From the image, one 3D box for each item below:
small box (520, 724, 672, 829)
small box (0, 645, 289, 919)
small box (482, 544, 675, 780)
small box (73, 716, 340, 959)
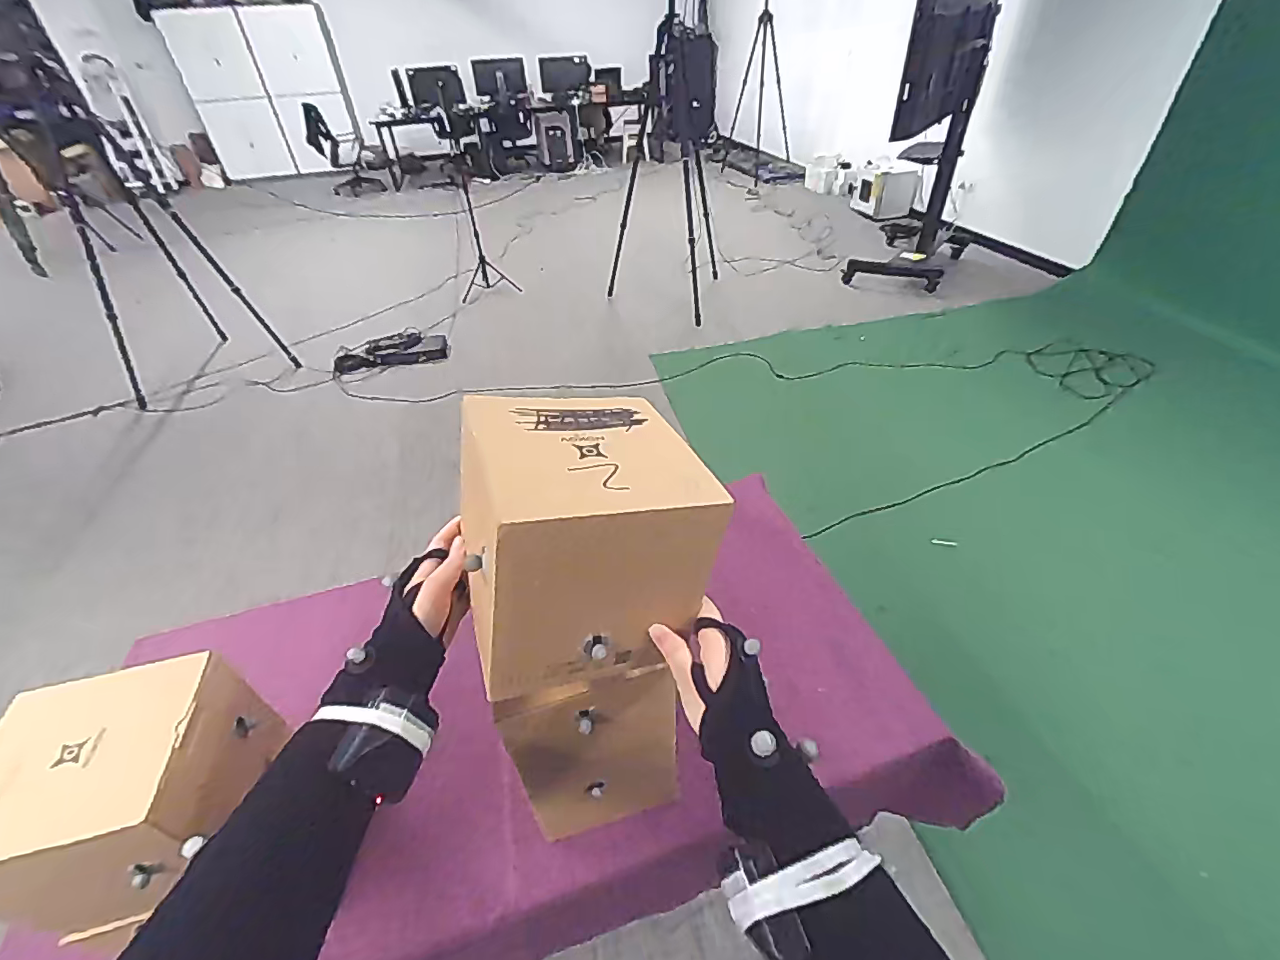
[{"bbox_3d":[-0.062,0.328,0.717,0.179,0.176,0.168,-12,42,-10],"label":"small box"},{"bbox_3d":[-0.490,0.296,0.536,0.179,0.176,0.168,-12,41,-8],"label":"small box"},{"bbox_3d":[-0.067,0.204,0.611,0.179,0.176,0.168,-14,42,-10],"label":"small box"},{"bbox_3d":[-0.482,0.421,0.642,0.168,0.176,0.179,-13,41,-9],"label":"small box"}]
